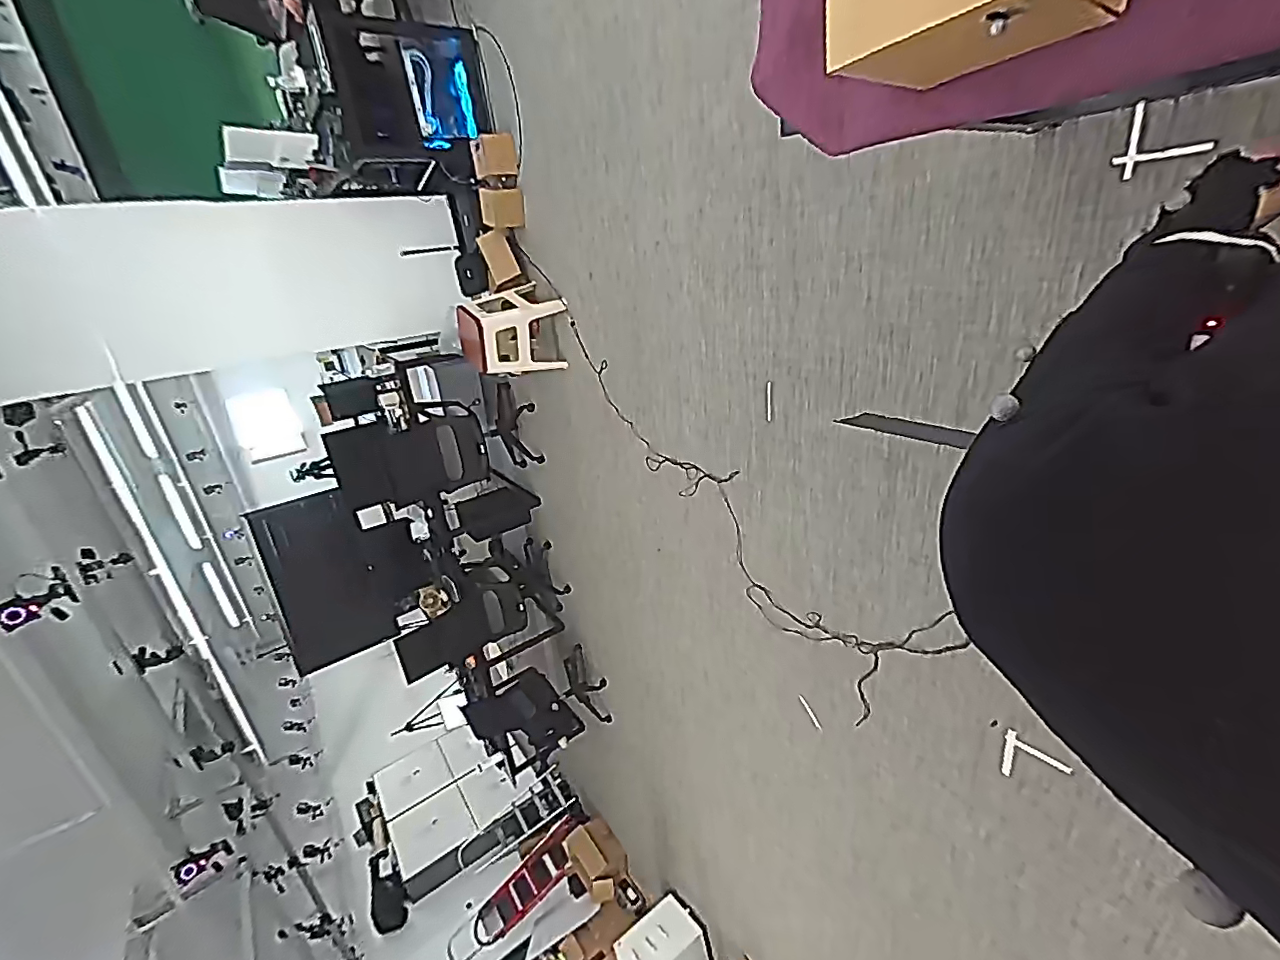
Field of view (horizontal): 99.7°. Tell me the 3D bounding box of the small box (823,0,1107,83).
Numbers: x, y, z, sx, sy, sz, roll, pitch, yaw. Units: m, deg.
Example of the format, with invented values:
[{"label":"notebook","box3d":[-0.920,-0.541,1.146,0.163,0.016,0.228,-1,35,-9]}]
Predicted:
[{"label":"small box","box3d":[0.278,-0.465,0.456,0.179,0.176,0.168,18,122,51]}]
